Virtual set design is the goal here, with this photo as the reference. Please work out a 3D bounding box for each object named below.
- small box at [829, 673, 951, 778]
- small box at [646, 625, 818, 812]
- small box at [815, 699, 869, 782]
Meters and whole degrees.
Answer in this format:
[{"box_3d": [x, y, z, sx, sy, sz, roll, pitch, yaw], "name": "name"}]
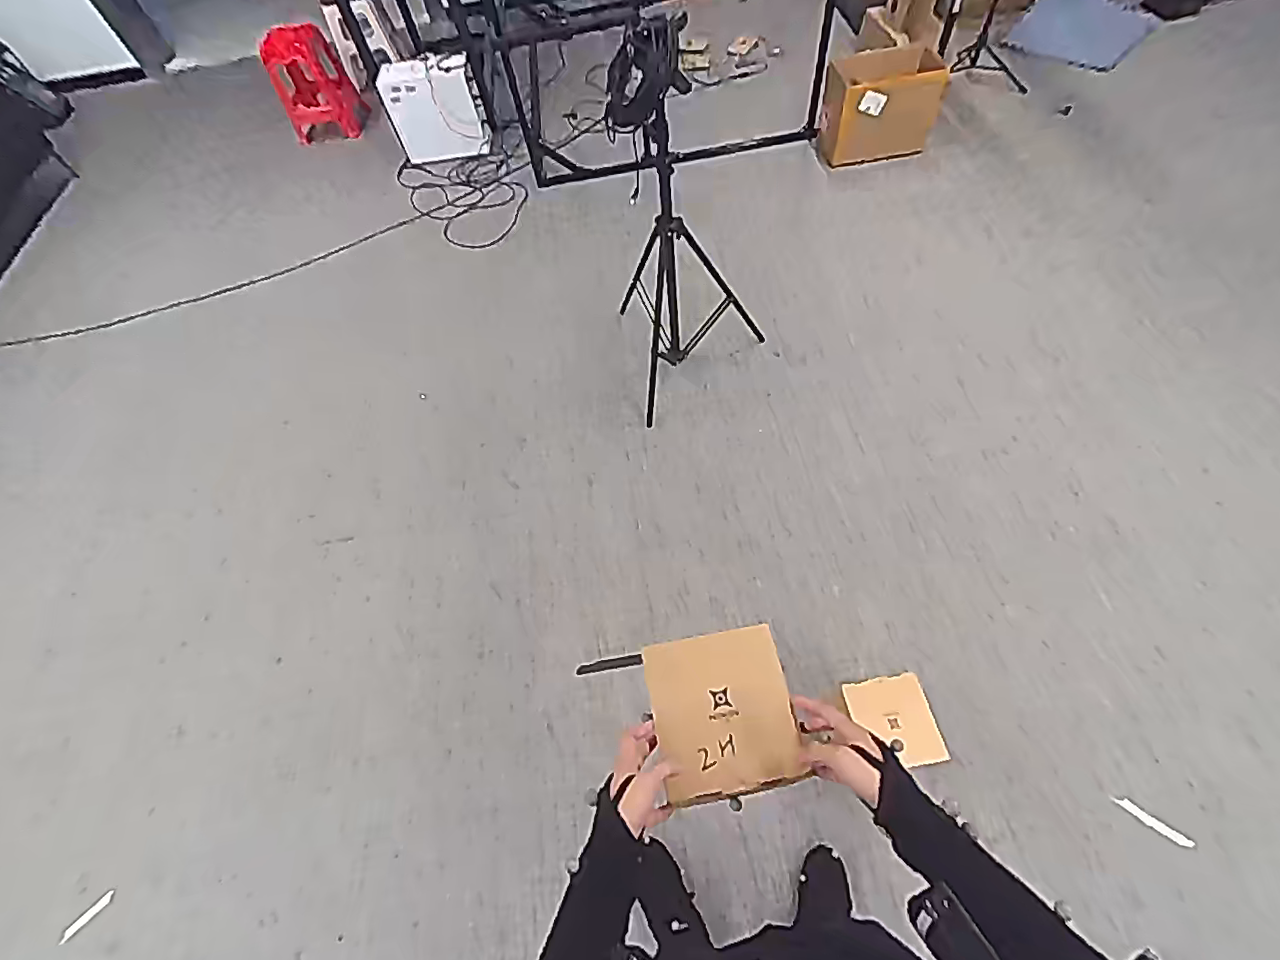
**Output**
[{"box_3d": [0.531, 0.540, 1.177, 0.168, 0.176, 0.179, -11, 58, 0], "name": "small box"}, {"box_3d": [0.104, 0.307, 0.689, 0.168, 0.176, 0.179, -11, 57, -1], "name": "small box"}, {"box_3d": [0.544, 0.624, 1.316, 0.168, 0.176, 0.179, -12, 58, -1], "name": "small box"}]
